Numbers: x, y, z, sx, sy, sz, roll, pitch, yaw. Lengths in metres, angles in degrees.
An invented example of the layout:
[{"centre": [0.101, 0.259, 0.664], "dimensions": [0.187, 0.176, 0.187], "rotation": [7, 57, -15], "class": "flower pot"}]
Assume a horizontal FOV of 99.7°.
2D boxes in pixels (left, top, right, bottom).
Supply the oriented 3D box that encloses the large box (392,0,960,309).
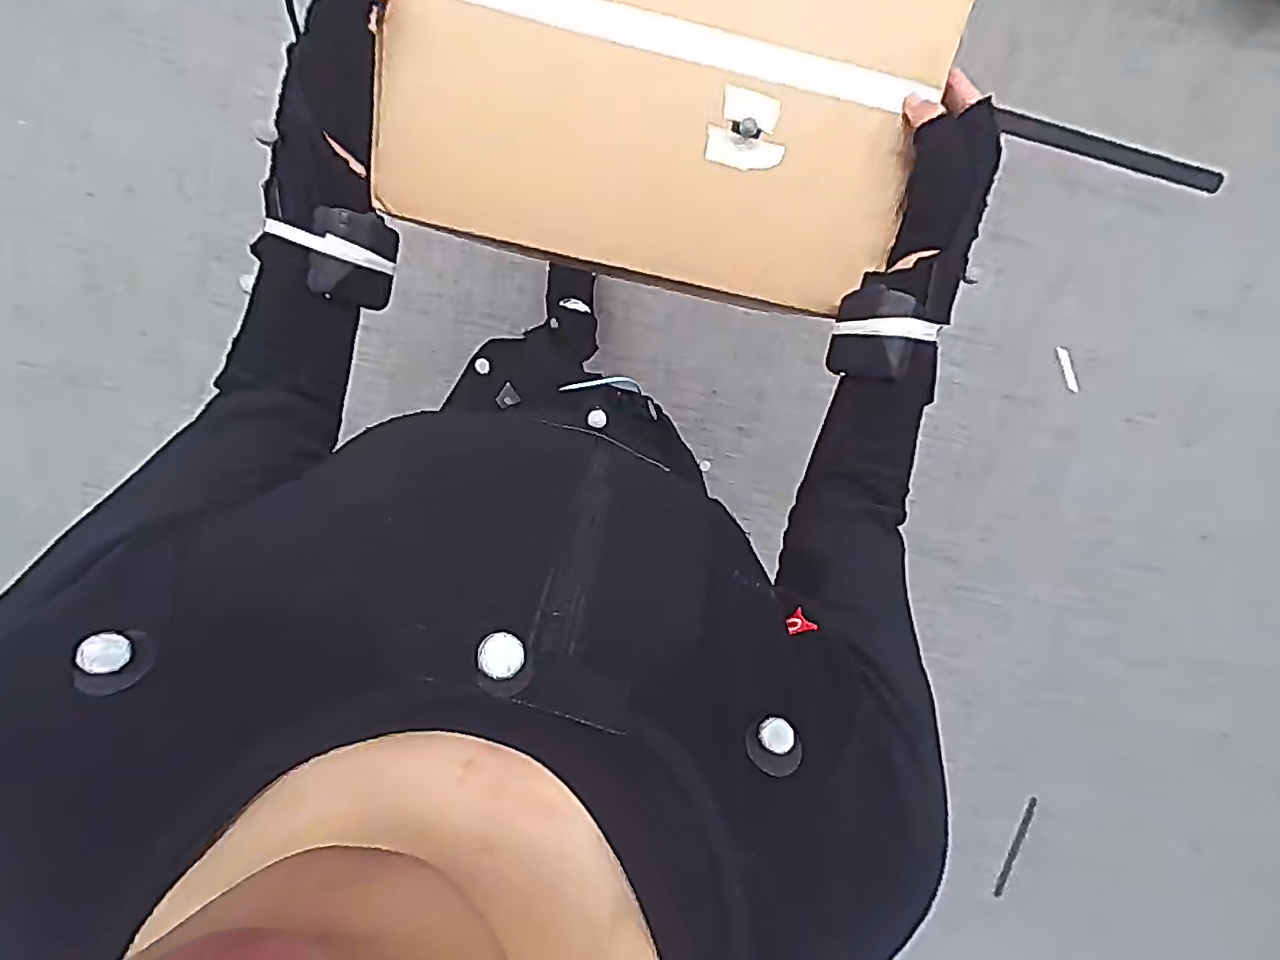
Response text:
[{"centre": [0.018, -0.367, 0.536], "dimensions": [0.408, 0.320, 0.320], "rotation": [10, 109, -6], "class": "large box"}]
